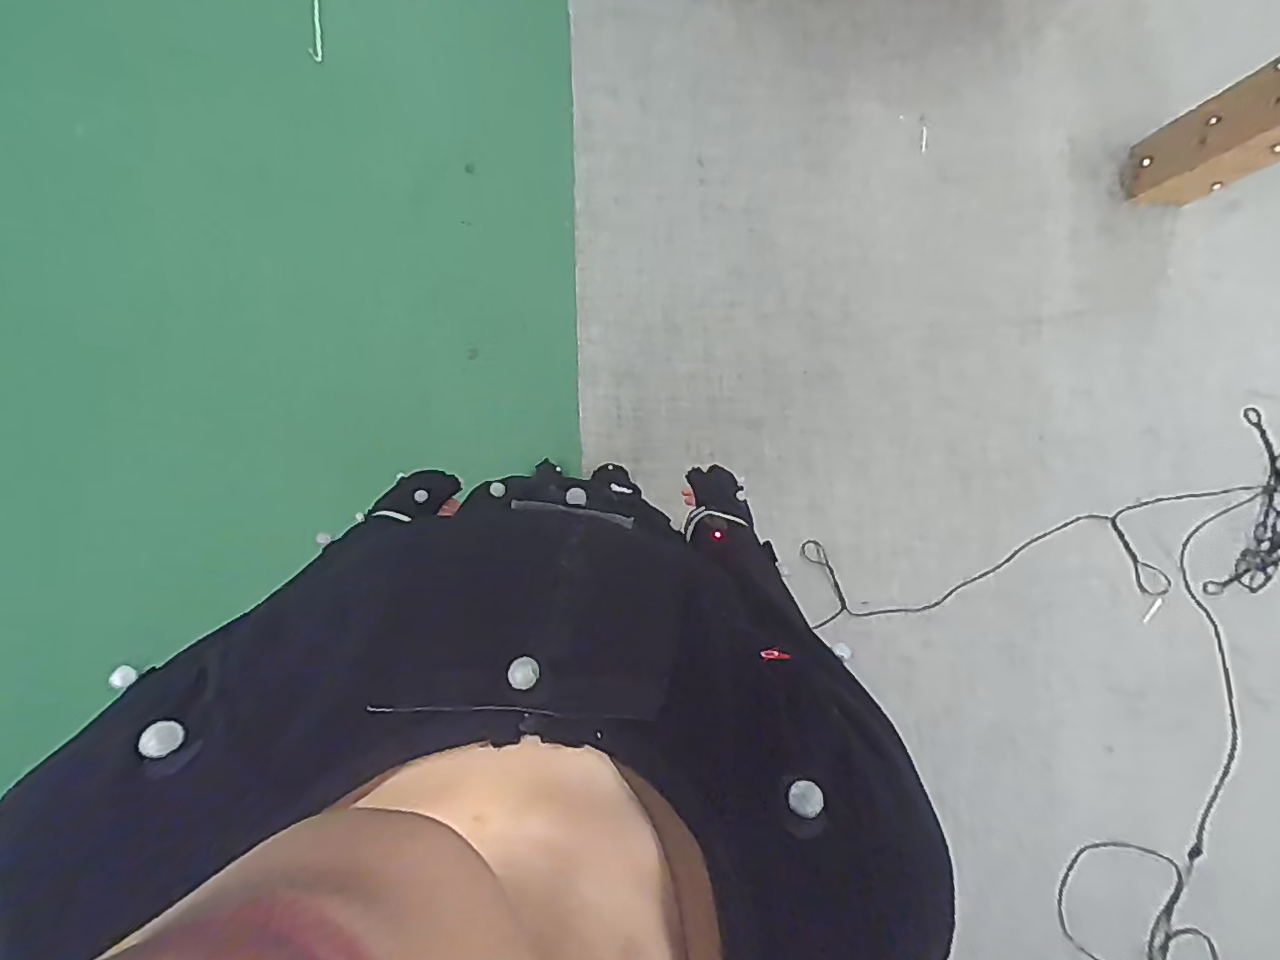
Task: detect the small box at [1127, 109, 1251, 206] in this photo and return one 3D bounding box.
[{"bbox_3d":[1.521,-0.889,1.506,0.179,0.176,0.168,3,90,-4],"label":"small box"}]

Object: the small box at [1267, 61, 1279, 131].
[{"bbox_3d":[1.544,-0.886,1.181,0.179,0.176,0.168,1,91,-4],"label":"small box"}]
